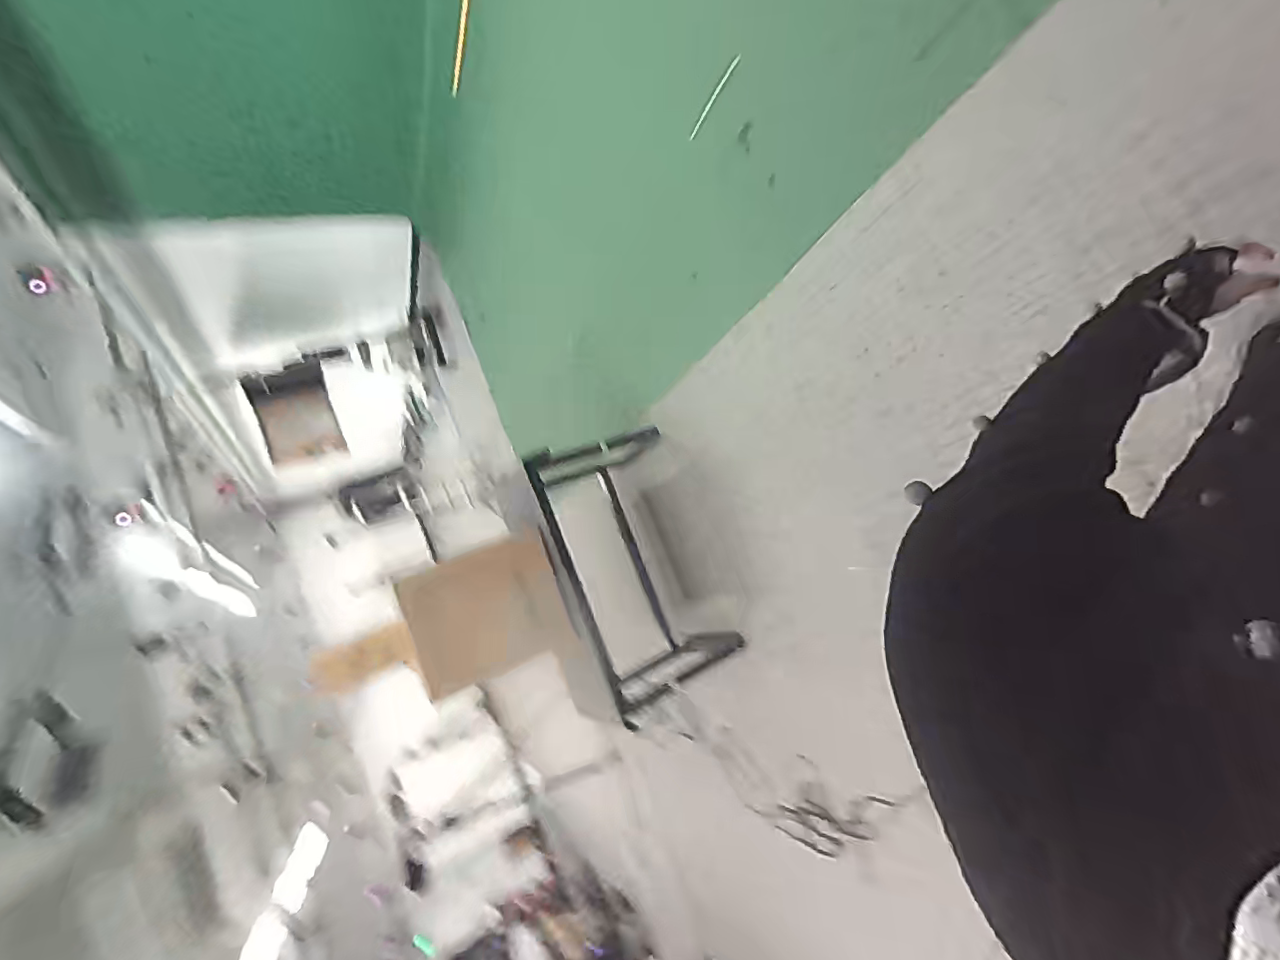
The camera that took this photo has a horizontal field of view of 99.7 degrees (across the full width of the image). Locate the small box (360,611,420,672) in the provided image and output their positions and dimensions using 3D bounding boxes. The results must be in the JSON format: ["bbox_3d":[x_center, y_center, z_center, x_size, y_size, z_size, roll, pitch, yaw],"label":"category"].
[{"bbox_3d":[-0.978,0.626,2.122,0.179,0.176,0.168,-13,95,60],"label":"small box"}]
